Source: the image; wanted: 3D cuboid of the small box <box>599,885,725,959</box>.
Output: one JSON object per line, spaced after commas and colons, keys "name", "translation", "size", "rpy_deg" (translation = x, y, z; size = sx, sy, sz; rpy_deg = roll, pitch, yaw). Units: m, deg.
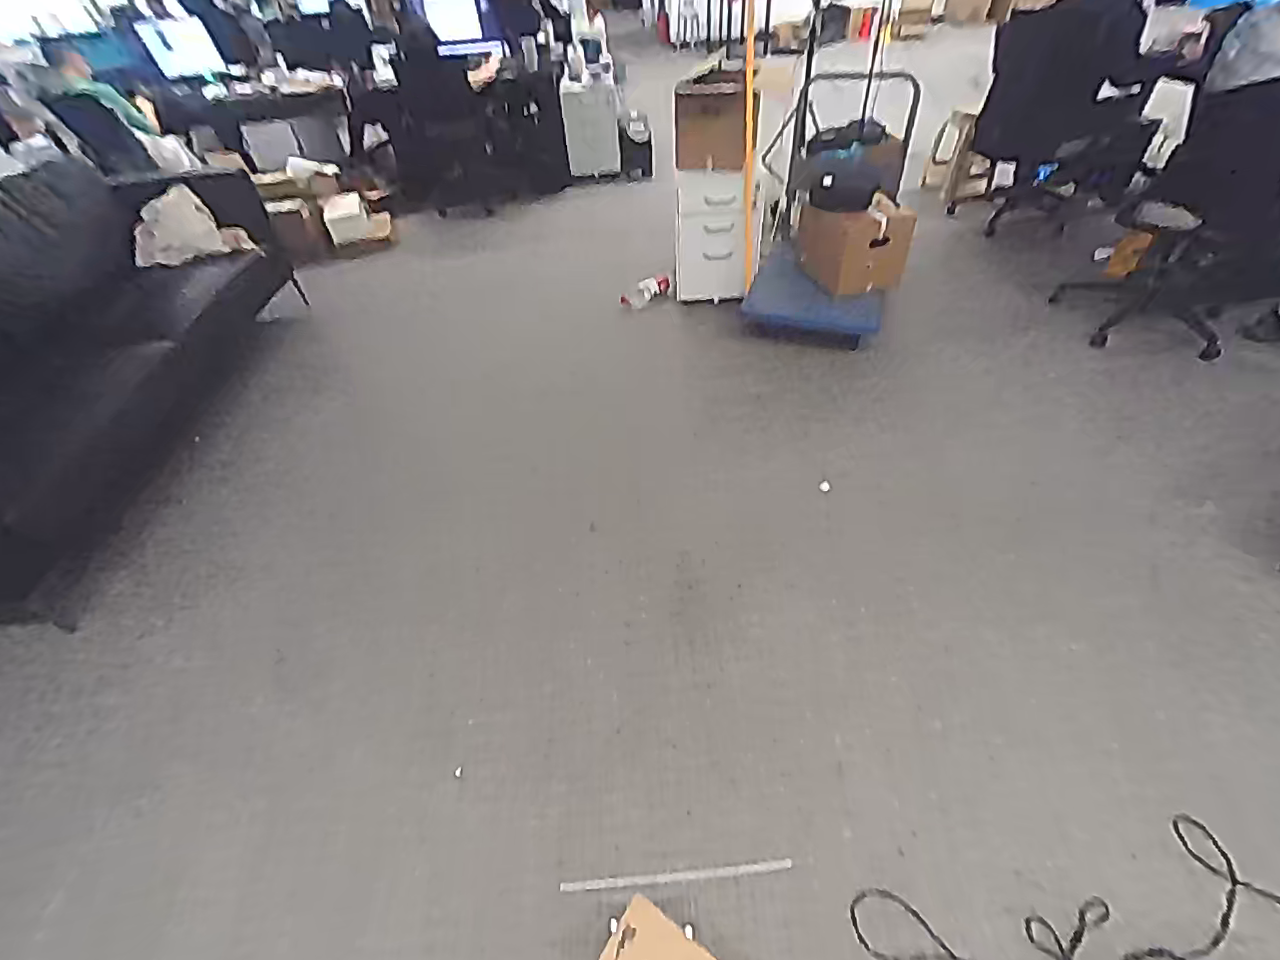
{"name": "small box", "translation": [0.034, 0.863, 0.949], "size": [0.179, 0.176, 0.168], "rpy_deg": [24, 53, 27]}
